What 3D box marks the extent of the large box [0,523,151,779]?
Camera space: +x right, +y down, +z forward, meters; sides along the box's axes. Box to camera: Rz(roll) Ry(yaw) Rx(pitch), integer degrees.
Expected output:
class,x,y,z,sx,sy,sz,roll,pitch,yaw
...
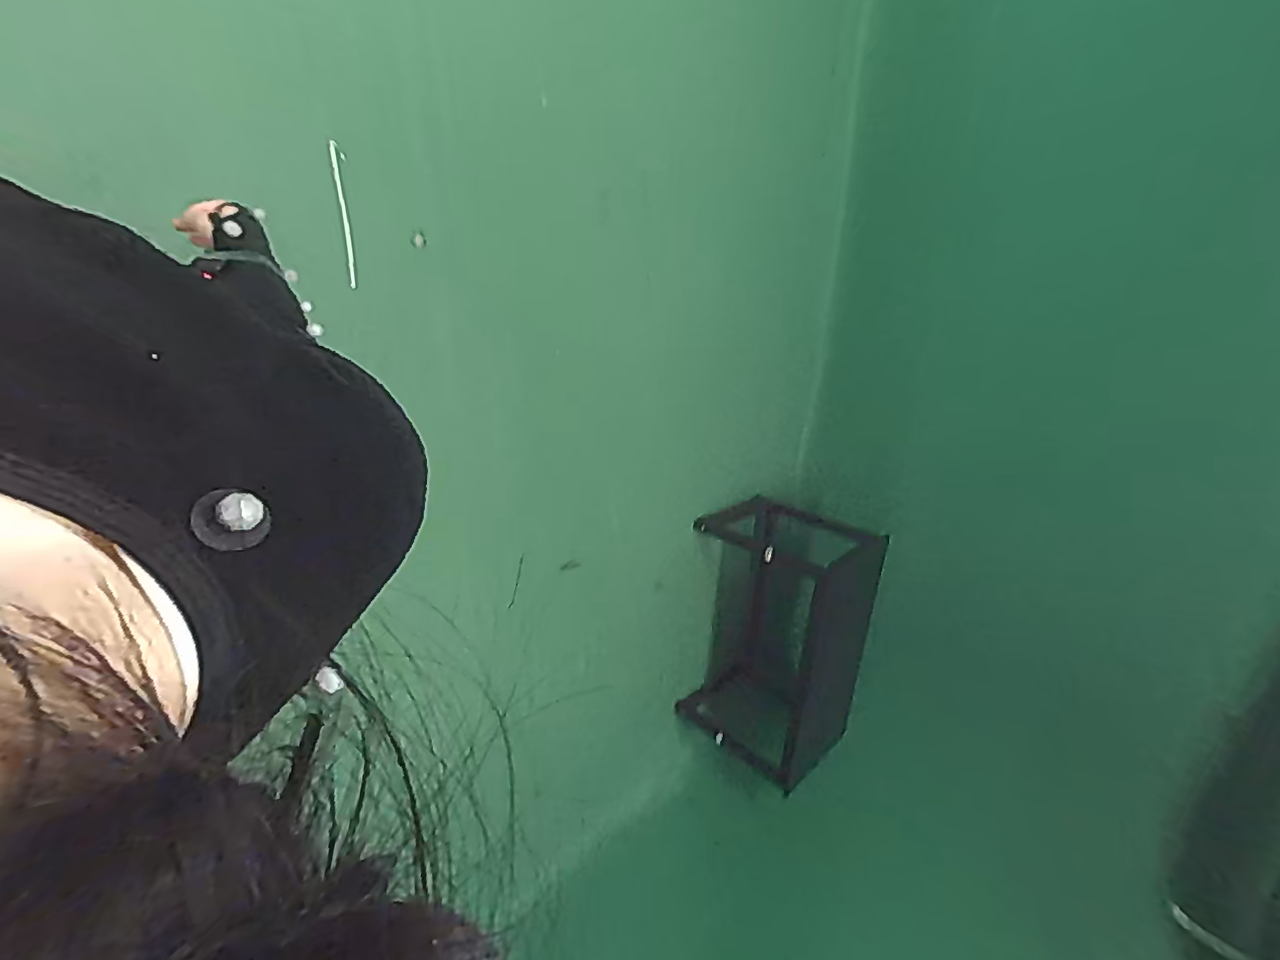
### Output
class,x,y,z,sx,sy,sz,roll,pitch,yaw
large box,-1.205,0.338,0.947,0.408,0.320,0.320,-35,130,-34

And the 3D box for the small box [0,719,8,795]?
class,x,y,z,sx,sy,sz,roll,pitch,yaw
small box,-1.053,0.391,0.757,0.168,0.176,0.179,-28,125,-36
